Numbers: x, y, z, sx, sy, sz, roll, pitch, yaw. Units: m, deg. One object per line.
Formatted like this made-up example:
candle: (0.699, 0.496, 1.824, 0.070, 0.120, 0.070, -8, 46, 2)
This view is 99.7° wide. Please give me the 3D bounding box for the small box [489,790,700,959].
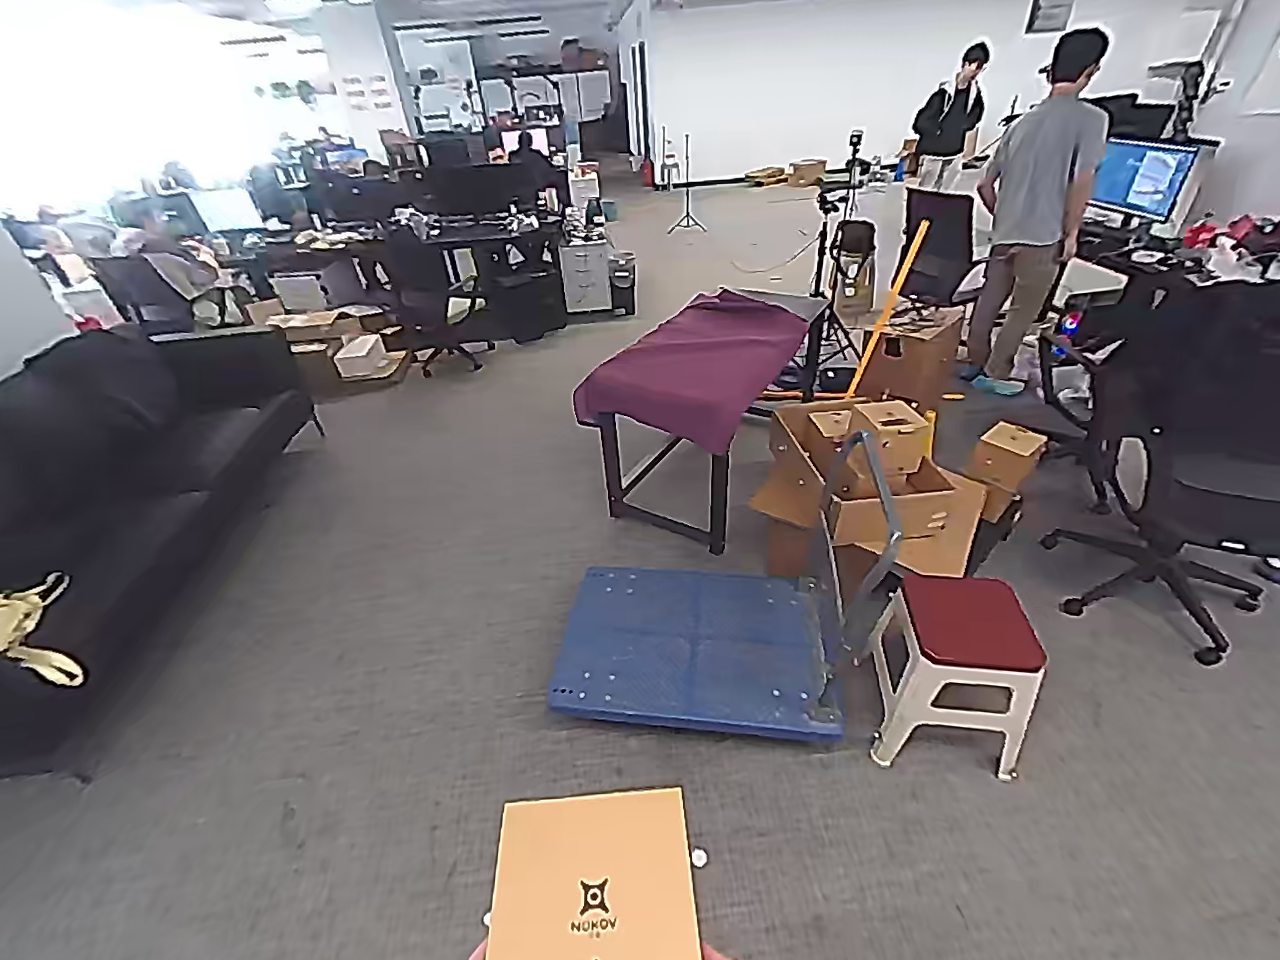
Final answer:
small box: (-0.034, 0.413, 0.490, 0.168, 0.176, 0.179, -4, 38, -1)
